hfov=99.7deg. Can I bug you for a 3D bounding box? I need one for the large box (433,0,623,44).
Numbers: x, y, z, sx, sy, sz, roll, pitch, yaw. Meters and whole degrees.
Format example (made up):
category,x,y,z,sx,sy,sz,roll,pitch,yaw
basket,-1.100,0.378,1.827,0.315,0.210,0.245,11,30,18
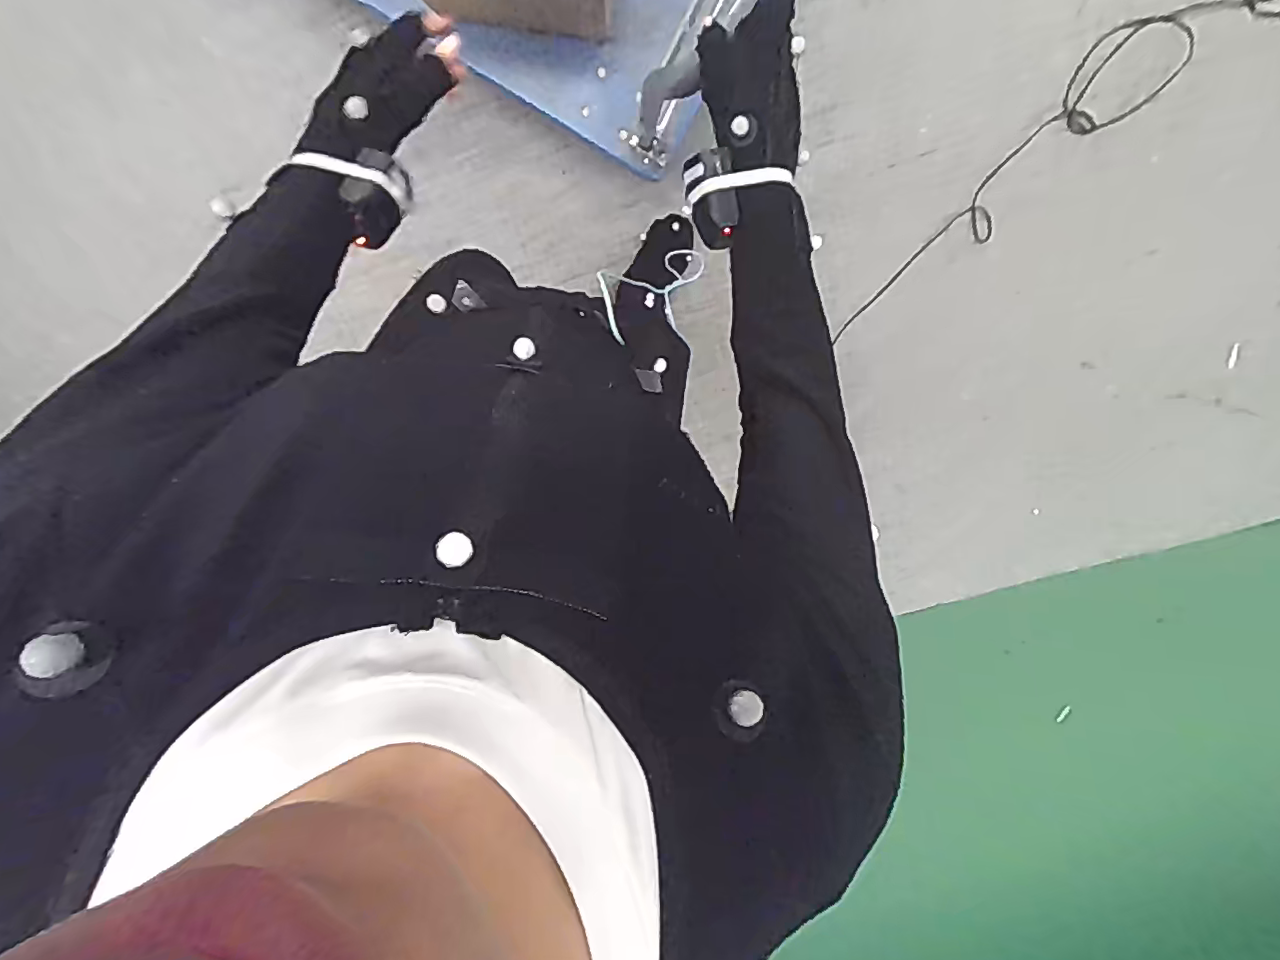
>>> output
category,x,y,z,sx,sy,sz,roll,pitch,yaw
large box,-0.166,-0.919,0.762,0.320,0.320,0.408,5,117,-3
